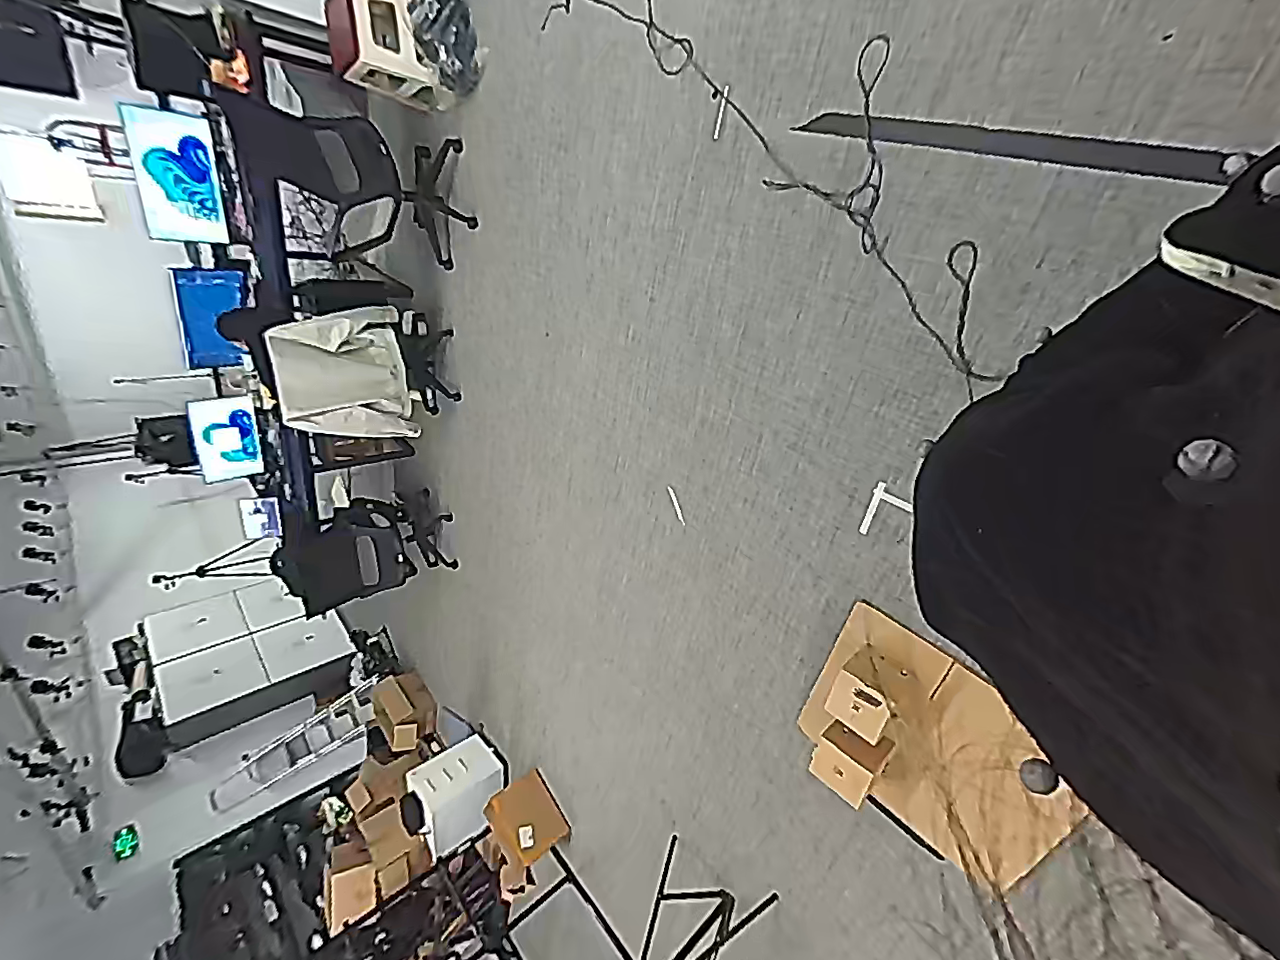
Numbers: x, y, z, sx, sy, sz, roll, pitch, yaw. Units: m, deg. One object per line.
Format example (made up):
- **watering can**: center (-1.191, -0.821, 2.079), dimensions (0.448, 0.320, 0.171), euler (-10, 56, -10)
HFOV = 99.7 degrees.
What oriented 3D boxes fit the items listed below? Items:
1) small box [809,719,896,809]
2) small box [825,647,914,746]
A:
- **small box**: center (0.665, 0.870, 1.696), dimensions (0.179, 0.176, 0.168), euler (28, 123, 38)
- **small box**: center (0.681, 0.630, 1.597), dimensions (0.168, 0.176, 0.179), euler (31, 124, 37)
